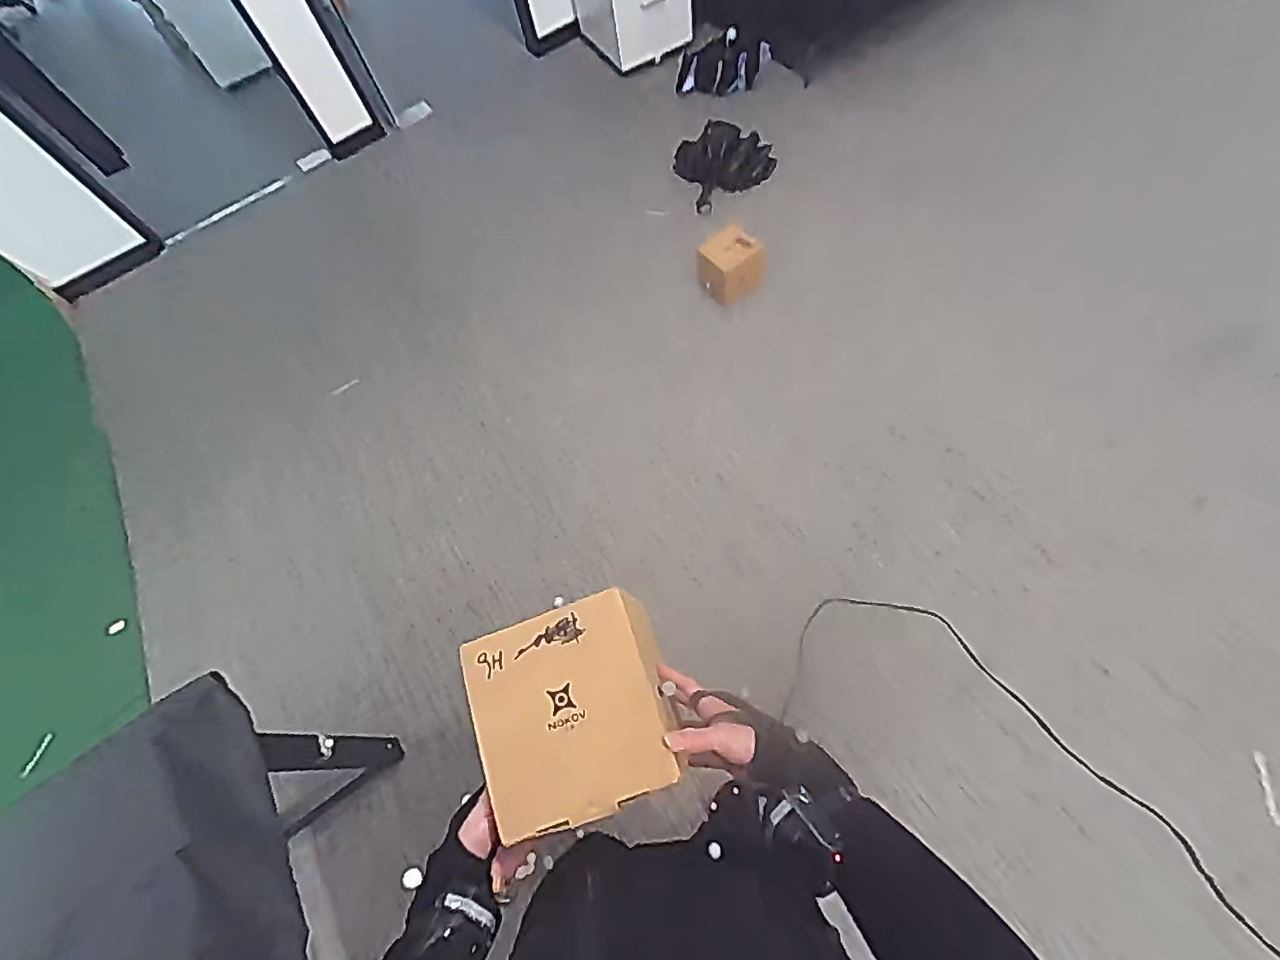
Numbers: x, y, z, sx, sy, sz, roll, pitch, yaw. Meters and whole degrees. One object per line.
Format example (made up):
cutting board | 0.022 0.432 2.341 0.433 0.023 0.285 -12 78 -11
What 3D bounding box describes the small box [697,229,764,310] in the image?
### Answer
small box | 0.324 -0.752 1.938 0.179 0.176 0.168 -35 63 -7
